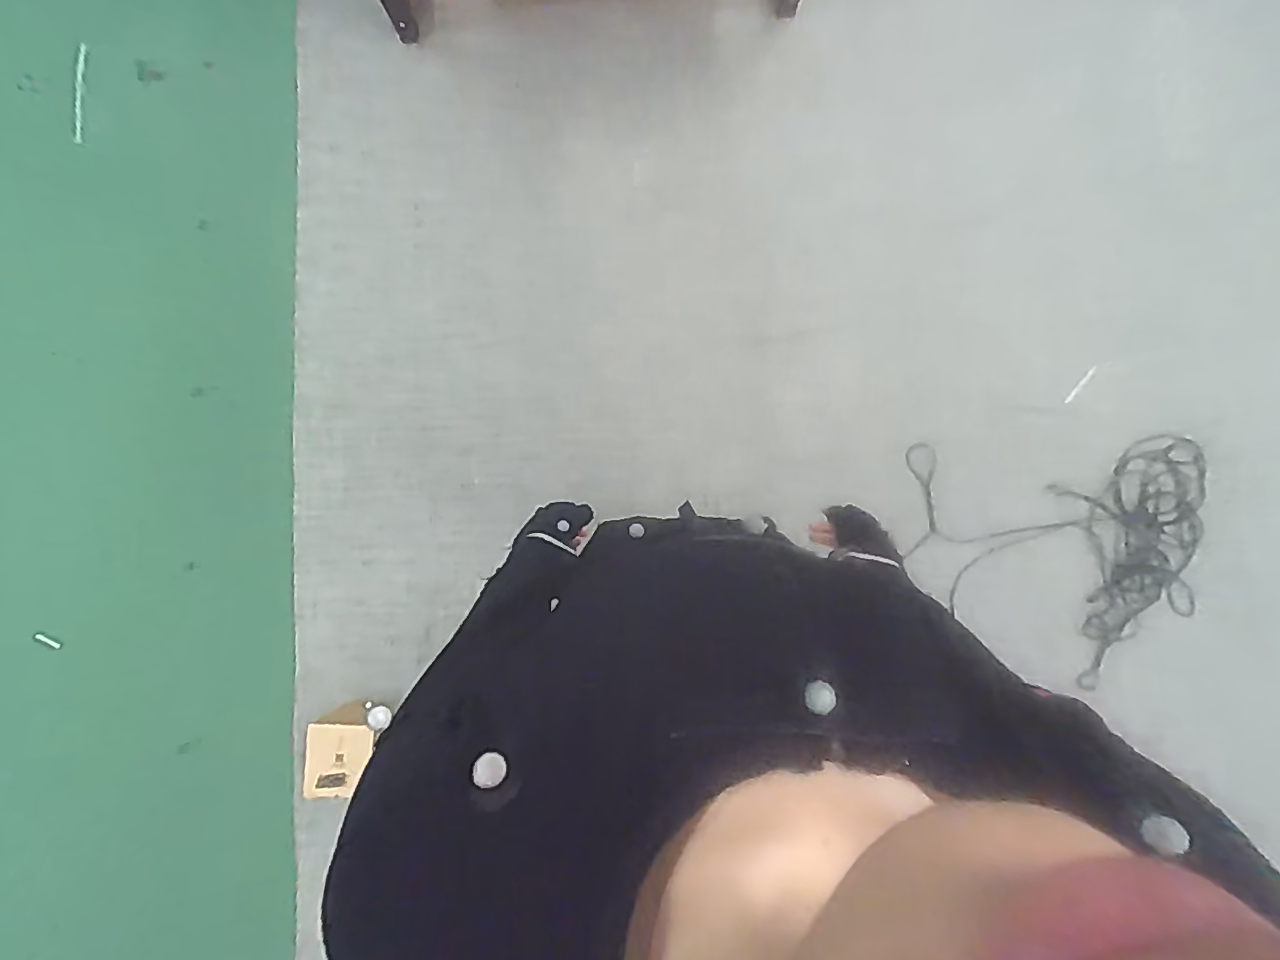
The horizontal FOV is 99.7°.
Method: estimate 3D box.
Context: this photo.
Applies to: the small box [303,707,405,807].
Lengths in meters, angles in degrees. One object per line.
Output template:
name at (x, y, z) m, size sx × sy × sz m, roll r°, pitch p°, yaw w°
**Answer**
small box at (-0.716, 0.694, 1.370) m, size 0.168 × 0.176 × 0.179 m, roll 1°, pitch 84°, yaw 1°
